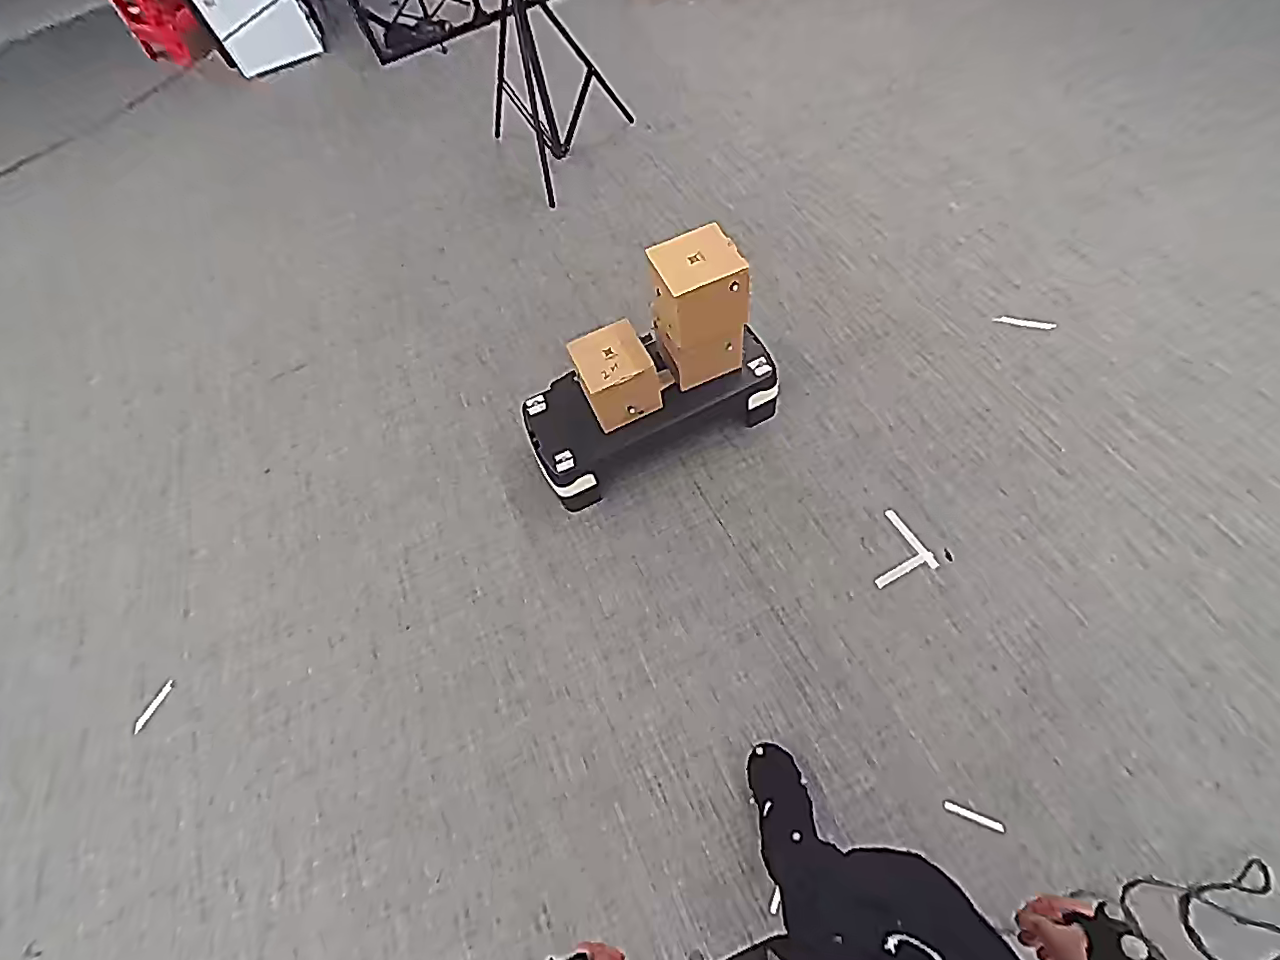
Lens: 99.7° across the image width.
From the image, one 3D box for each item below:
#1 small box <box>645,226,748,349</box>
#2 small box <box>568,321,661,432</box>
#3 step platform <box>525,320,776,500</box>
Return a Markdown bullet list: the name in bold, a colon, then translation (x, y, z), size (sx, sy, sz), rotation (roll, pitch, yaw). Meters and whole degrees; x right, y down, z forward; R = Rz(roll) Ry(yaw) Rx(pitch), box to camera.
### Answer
- **small box**: translation (0.130, -0.427, 1.222), size (0.179, 0.176, 0.168), rotation (-23, 62, -4)
- **small box**: translation (-0.060, -0.252, 1.345), size (0.168, 0.176, 0.179), rotation (-25, 62, -4)
- **step platform**: translation (0.031, -0.223, 1.513), size (0.684, 0.204, 0.286), rotation (-27, 61, -5)
